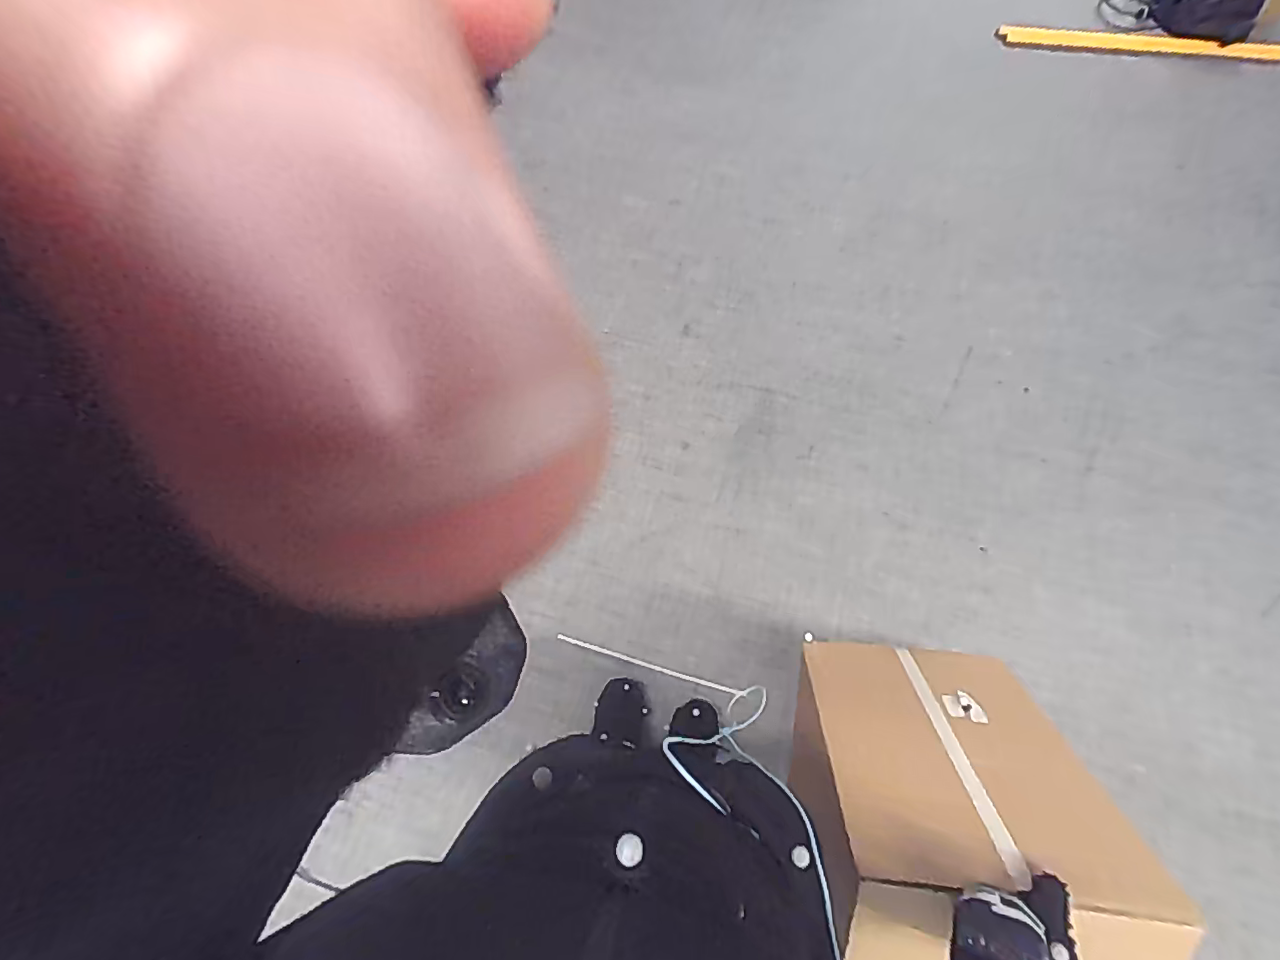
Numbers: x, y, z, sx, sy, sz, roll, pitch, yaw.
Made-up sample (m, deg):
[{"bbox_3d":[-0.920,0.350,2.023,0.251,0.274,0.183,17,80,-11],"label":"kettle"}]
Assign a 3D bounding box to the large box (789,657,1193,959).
[{"bbox_3d":[0.398,0.508,0.754,0.320,0.408,0.320,4,108,7],"label":"large box"}]
